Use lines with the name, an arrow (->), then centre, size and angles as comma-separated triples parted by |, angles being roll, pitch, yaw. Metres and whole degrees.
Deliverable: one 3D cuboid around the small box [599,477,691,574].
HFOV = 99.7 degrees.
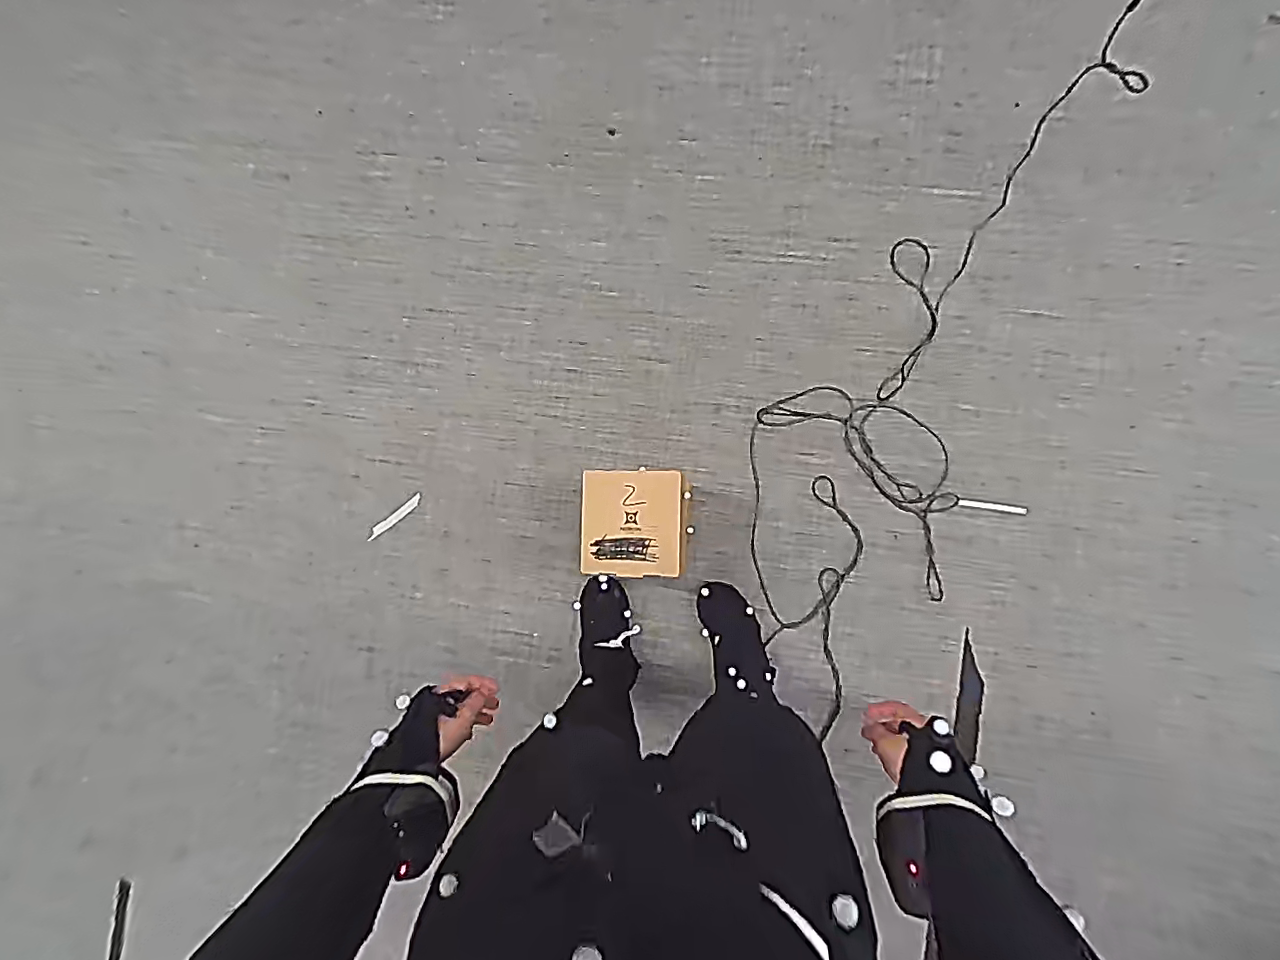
small box -> 0.018, 0.091, 1.131 | 0.168, 0.176, 0.179 | 5, 88, 6
